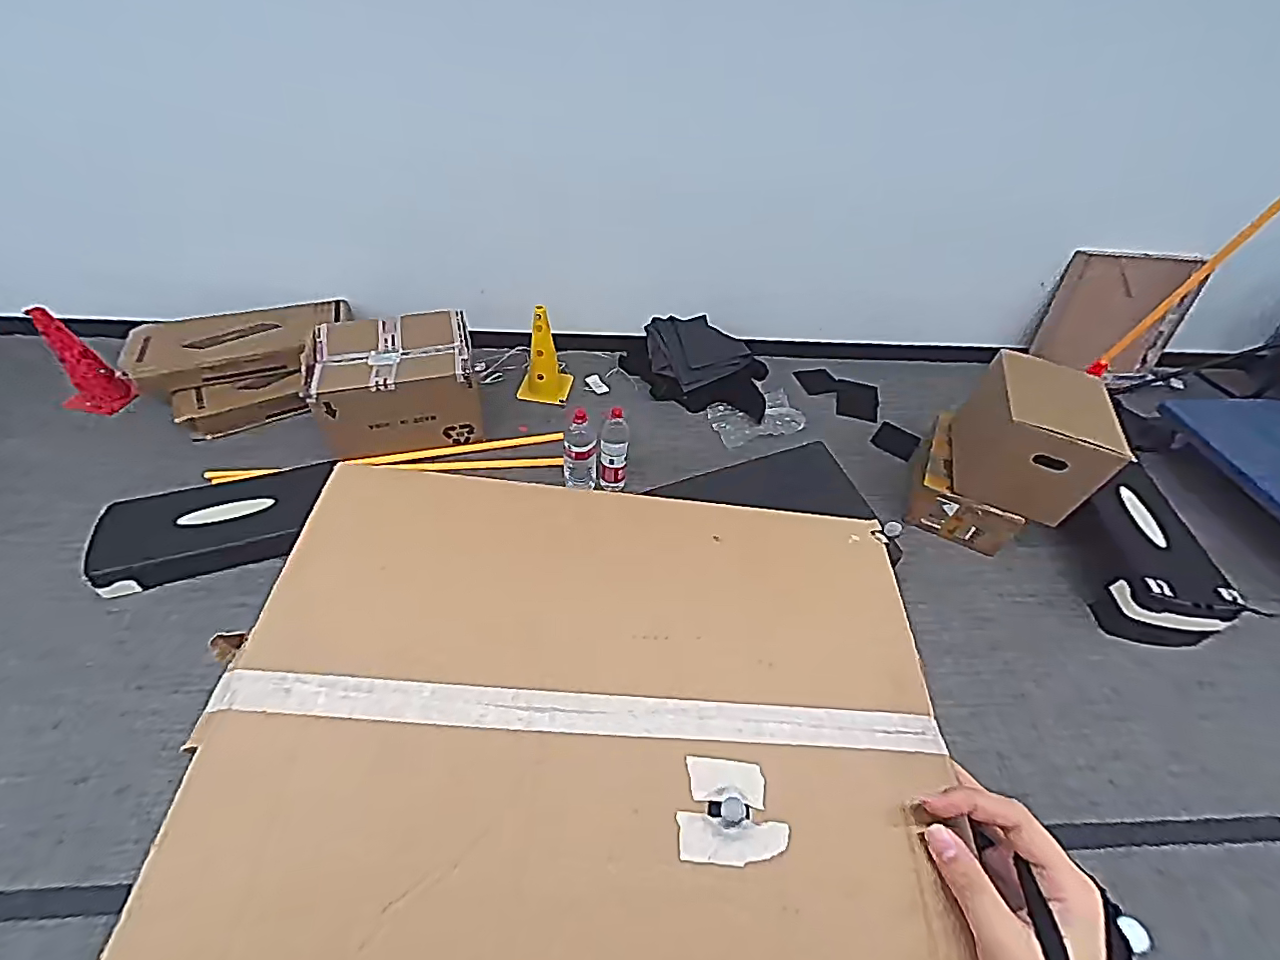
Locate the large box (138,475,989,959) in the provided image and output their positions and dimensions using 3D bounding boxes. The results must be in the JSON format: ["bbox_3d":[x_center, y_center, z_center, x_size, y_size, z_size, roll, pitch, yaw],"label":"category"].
[{"bbox_3d":[-0.040,0.227,0.435,0.408,0.320,0.320,7,53,-6],"label":"large box"}]
